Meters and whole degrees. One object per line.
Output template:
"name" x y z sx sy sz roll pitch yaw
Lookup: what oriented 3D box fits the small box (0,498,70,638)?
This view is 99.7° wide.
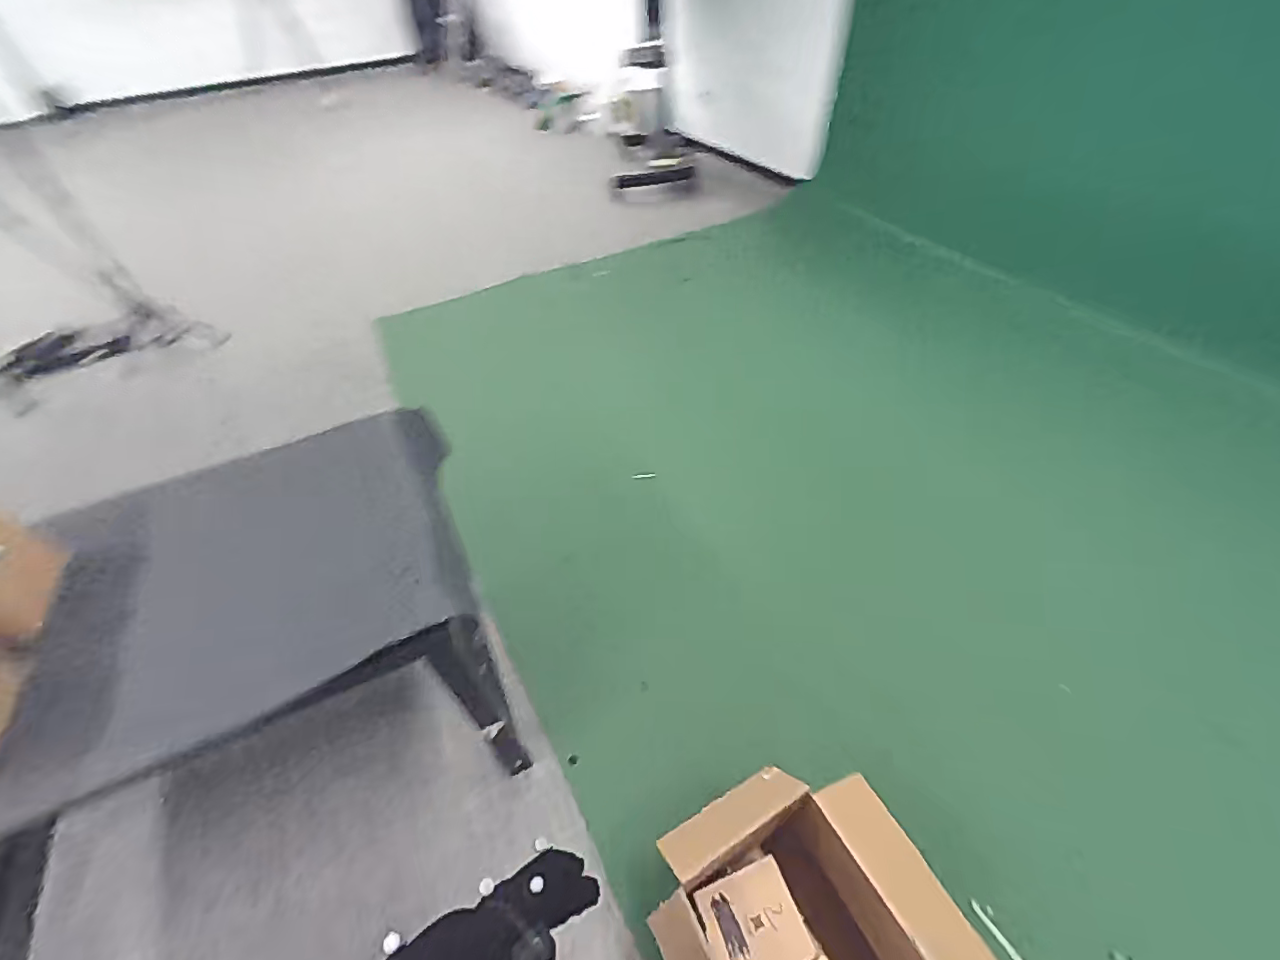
"small box" -1.048 0.146 0.829 0.168 0.176 0.179 -19 49 -14
